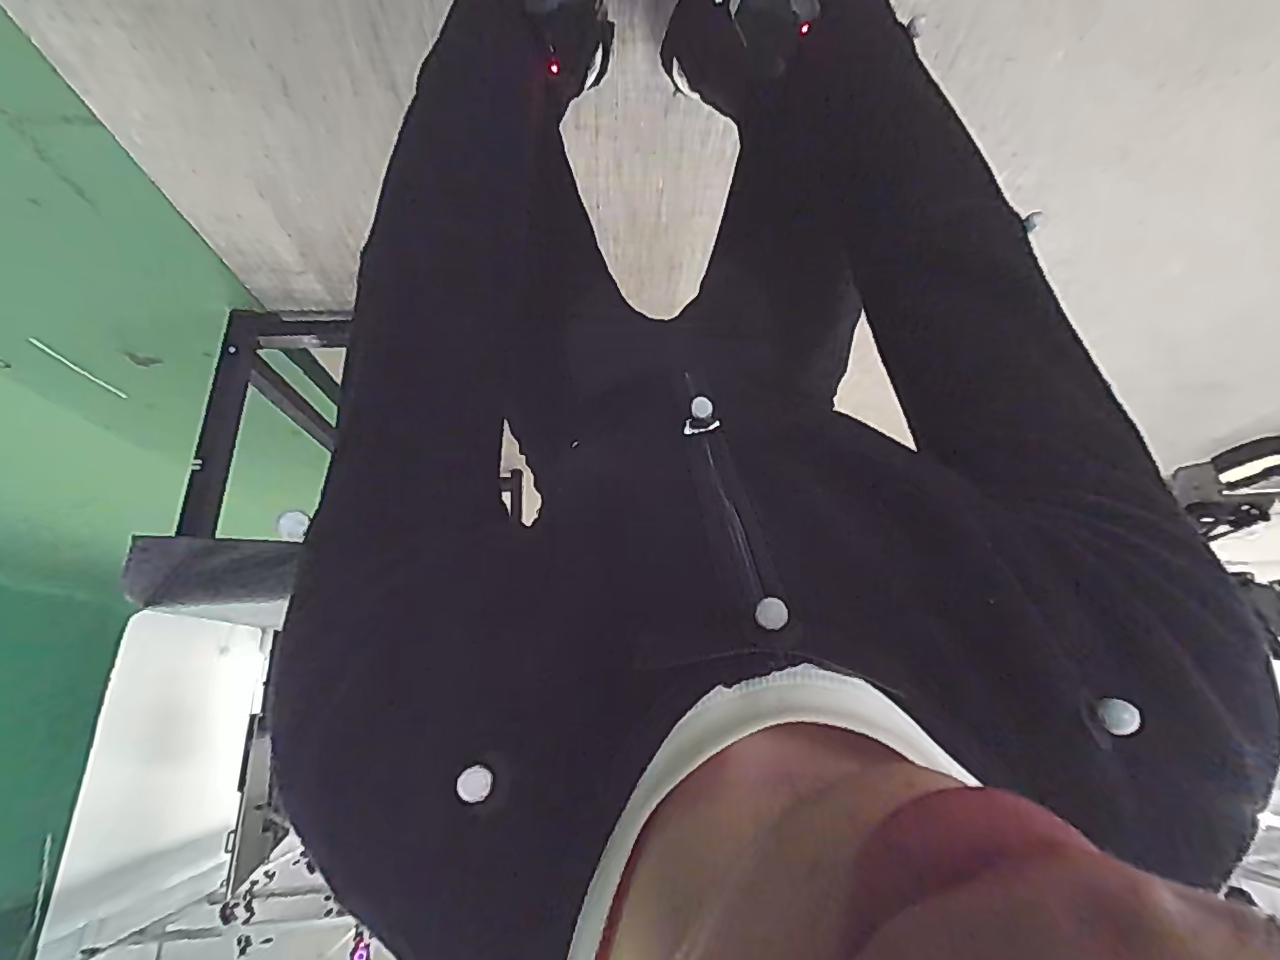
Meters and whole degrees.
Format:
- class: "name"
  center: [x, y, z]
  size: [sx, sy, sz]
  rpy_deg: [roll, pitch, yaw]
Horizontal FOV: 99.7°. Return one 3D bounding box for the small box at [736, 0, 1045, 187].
- class: "small box"
  center: [0.182, -0.349, 0.436]
  size: [0.176, 0.179, 0.168]
  rpy_deg: [6, 127, -5]
